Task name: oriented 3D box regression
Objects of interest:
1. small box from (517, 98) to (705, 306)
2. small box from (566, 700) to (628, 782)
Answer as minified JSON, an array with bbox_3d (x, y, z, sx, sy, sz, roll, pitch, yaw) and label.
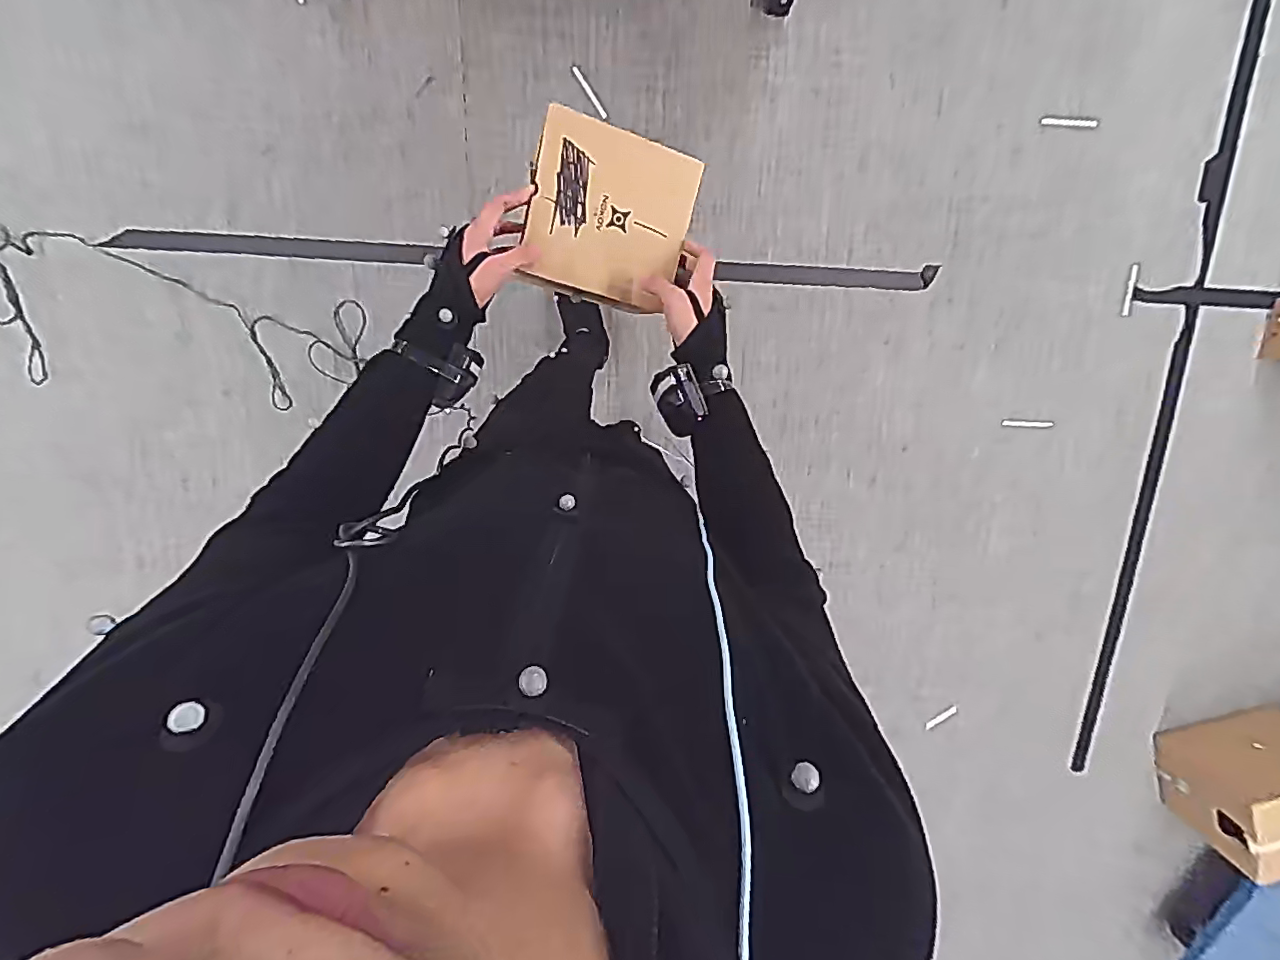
[{"bbox_3d":[-0.049,-0.314,0.657,0.179,0.176,0.168,11,104,-18],"label":"small box"},{"bbox_3d":[-0.137,0.844,1.760,0.179,0.176,0.168,9,103,-5],"label":"small box"}]
